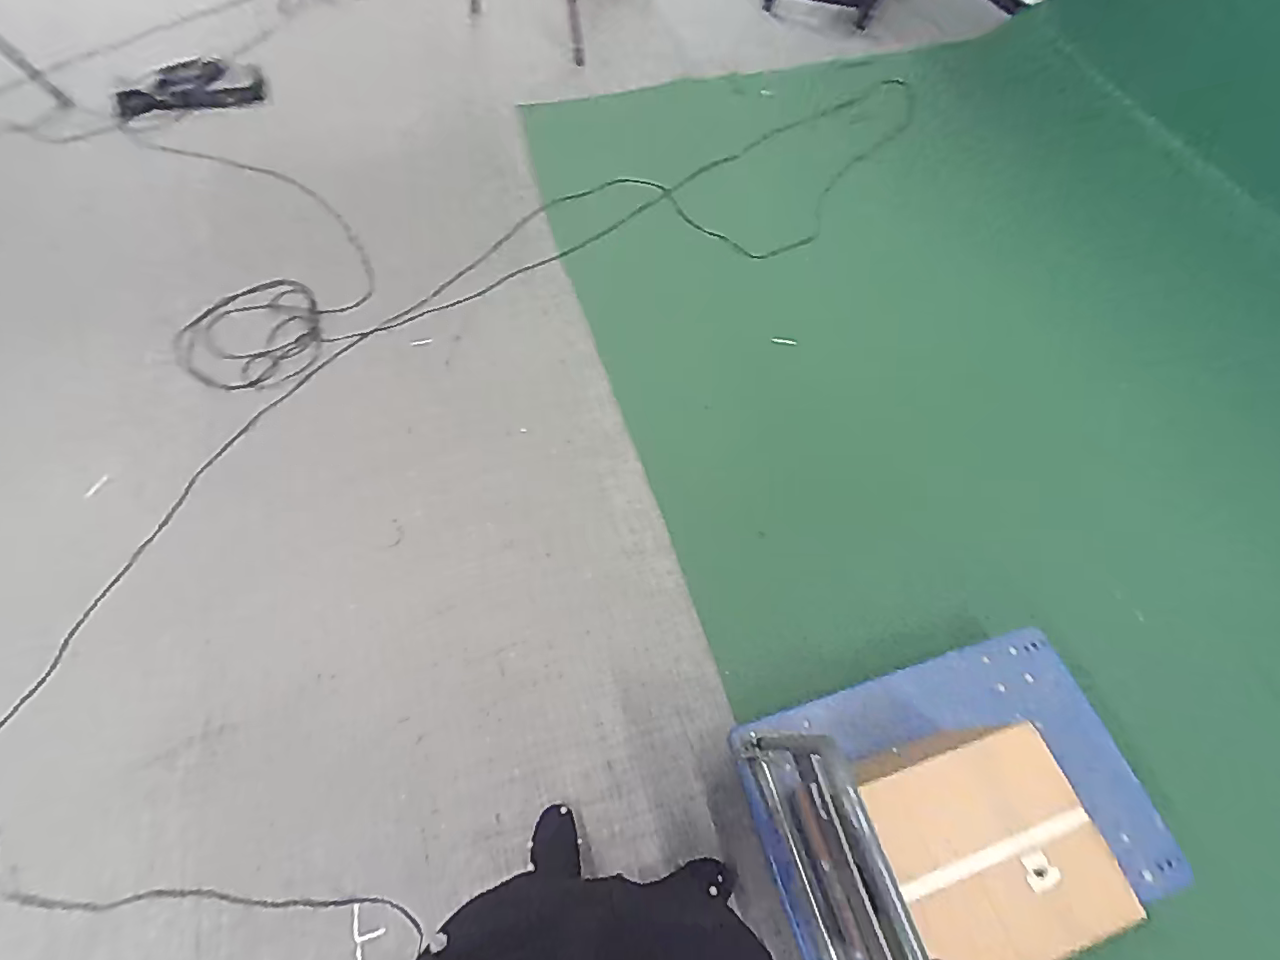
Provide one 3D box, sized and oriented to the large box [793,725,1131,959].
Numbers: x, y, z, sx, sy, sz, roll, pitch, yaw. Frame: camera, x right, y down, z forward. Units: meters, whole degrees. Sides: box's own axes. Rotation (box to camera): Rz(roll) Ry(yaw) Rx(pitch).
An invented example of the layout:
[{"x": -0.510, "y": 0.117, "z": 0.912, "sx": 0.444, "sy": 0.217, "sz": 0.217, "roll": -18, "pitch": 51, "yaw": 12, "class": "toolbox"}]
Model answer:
[{"x": 0.579, "y": 0.717, "z": 1.059, "sx": 0.408, "sy": 0.320, "sz": 0.320, "roll": -14, "pitch": 64, "yaw": -10, "class": "large box"}]
